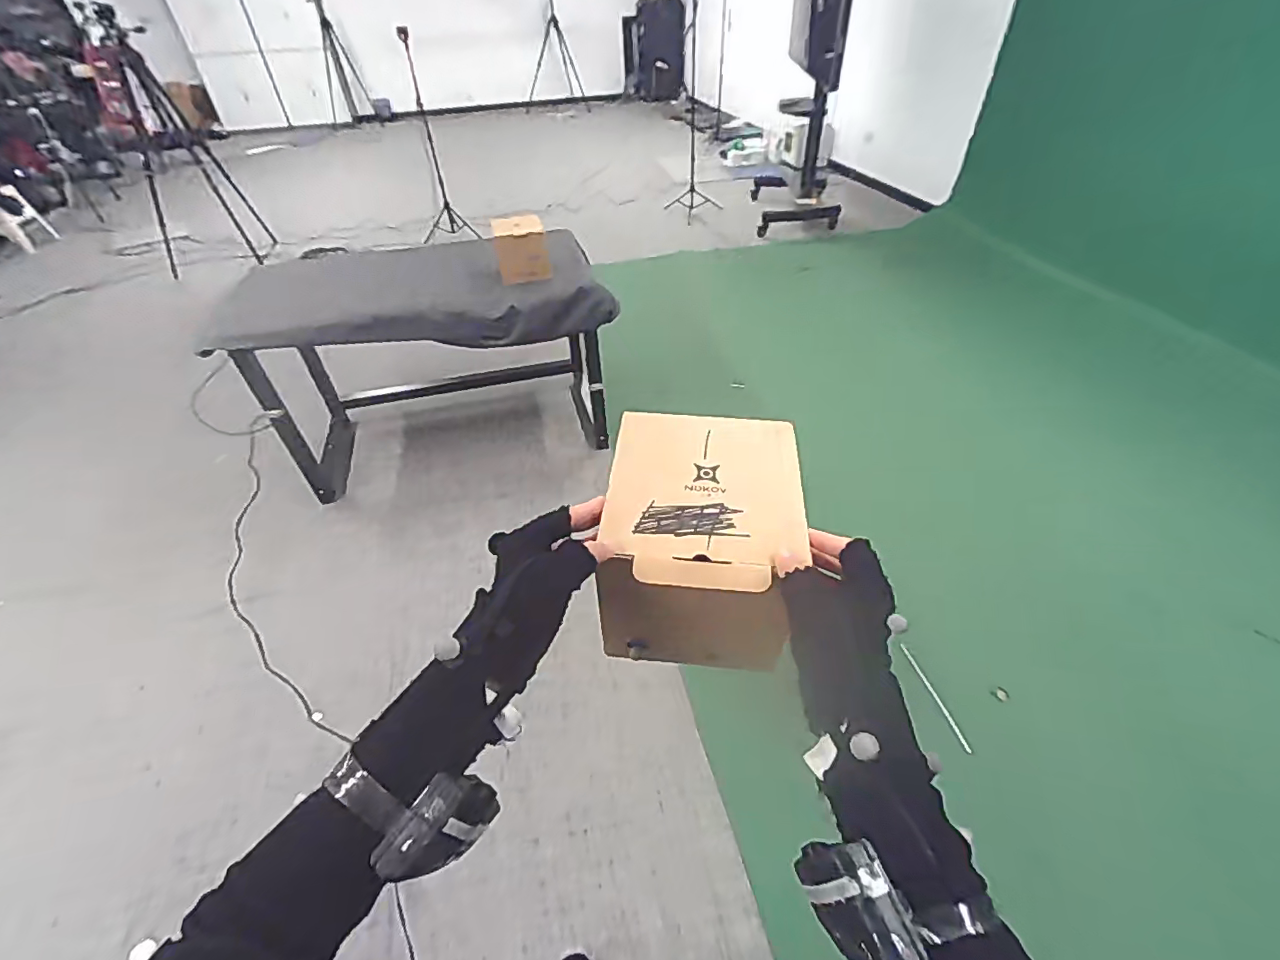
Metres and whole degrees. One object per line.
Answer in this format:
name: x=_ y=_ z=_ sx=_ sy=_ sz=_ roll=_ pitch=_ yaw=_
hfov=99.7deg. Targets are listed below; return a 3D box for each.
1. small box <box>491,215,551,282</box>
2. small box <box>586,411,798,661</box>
small box: x=-0.412 y=-0.799 z=1.876 sx=0.168 sy=0.176 sz=0.179 roll=-13 pitch=42 yaw=-11
small box: x=0.049 y=0.055 z=0.523 sx=0.168 sy=0.176 sz=0.179 roll=4 pitch=45 yaw=4
